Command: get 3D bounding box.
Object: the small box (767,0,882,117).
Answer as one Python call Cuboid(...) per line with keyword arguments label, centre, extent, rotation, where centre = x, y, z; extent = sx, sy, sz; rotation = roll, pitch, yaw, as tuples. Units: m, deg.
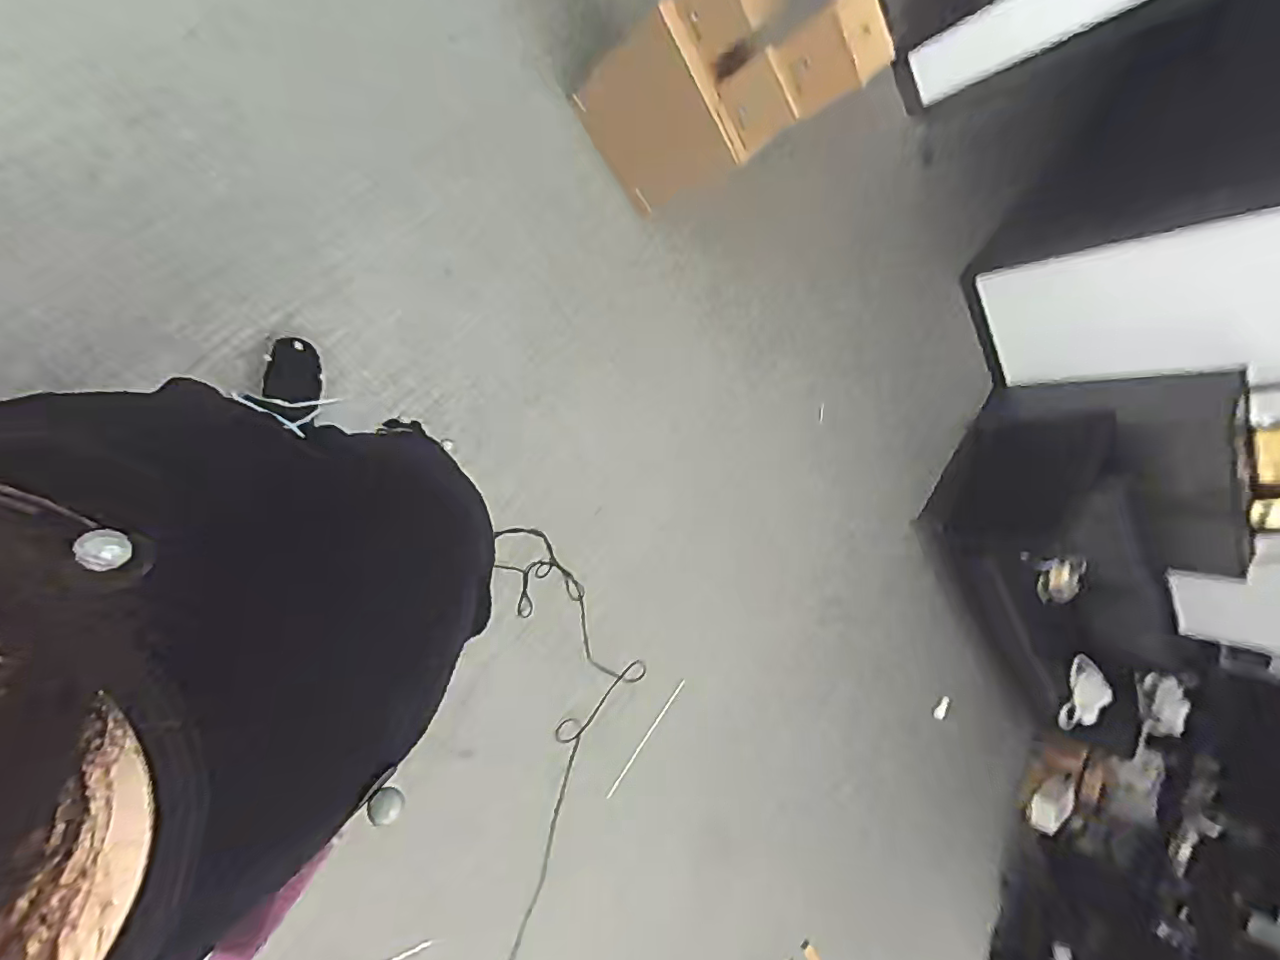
Cuboid(label="small box", centre=(0.433, -1.010, 1.277), extent=(0.179, 0.176, 0.168), rotation=(-48, 117, -24))
